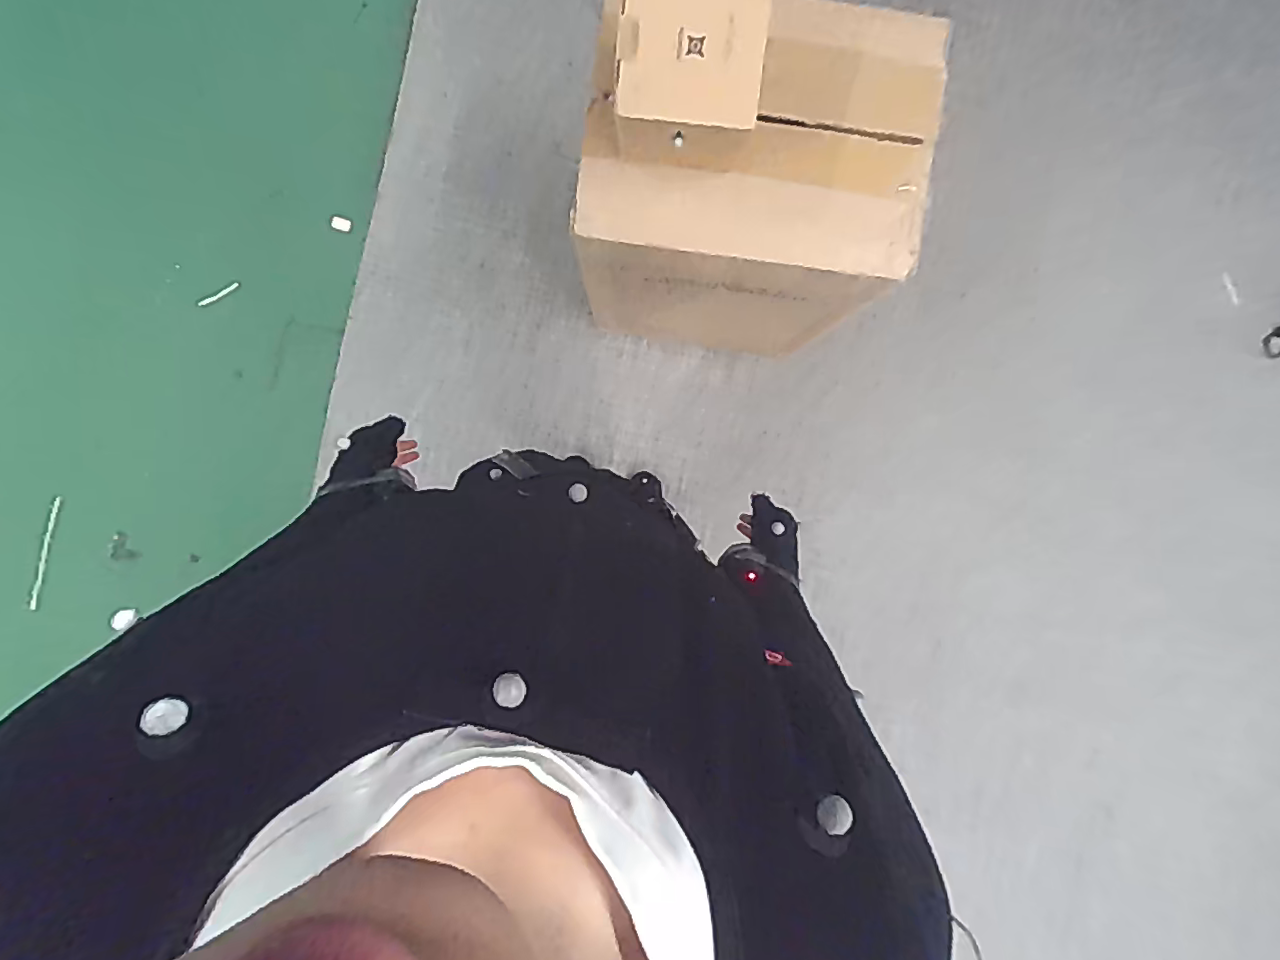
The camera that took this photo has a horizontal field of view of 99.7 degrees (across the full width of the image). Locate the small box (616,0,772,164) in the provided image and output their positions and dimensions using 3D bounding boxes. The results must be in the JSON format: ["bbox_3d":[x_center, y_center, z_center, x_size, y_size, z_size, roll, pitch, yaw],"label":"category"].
[{"bbox_3d":[0.064,-0.542,0.720,0.179,0.176,0.168,5,104,-2],"label":"small box"}]
